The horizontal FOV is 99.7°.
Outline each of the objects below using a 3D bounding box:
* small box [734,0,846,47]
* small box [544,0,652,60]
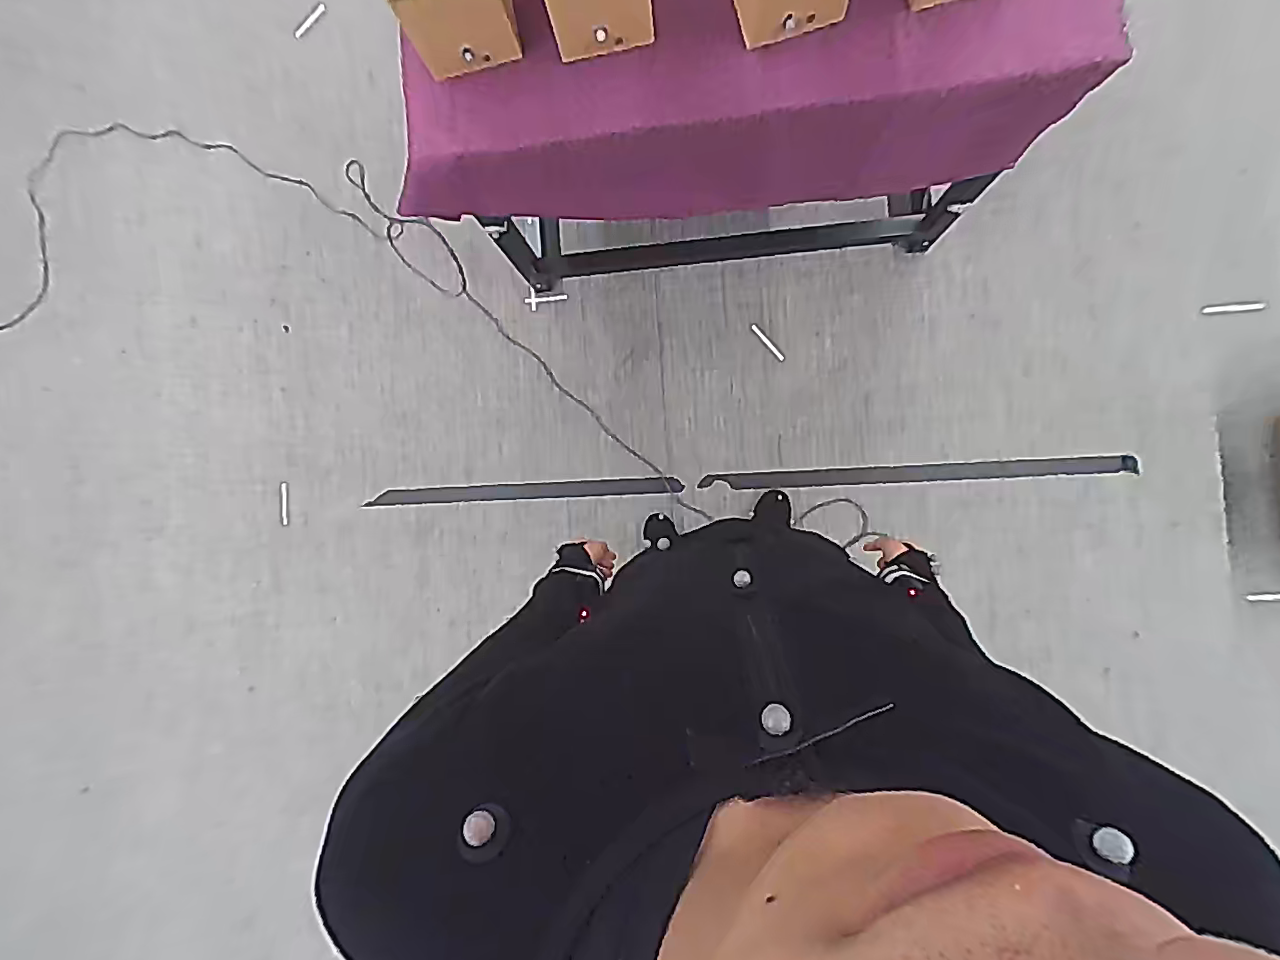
[{"bbox_3d":[0.227,-0.829,0.827,0.168,0.176,0.179,-15,87,6],"label":"small box"},{"bbox_3d":[-0.077,-0.826,0.858,0.168,0.176,0.179,-8,89,6],"label":"small box"}]
